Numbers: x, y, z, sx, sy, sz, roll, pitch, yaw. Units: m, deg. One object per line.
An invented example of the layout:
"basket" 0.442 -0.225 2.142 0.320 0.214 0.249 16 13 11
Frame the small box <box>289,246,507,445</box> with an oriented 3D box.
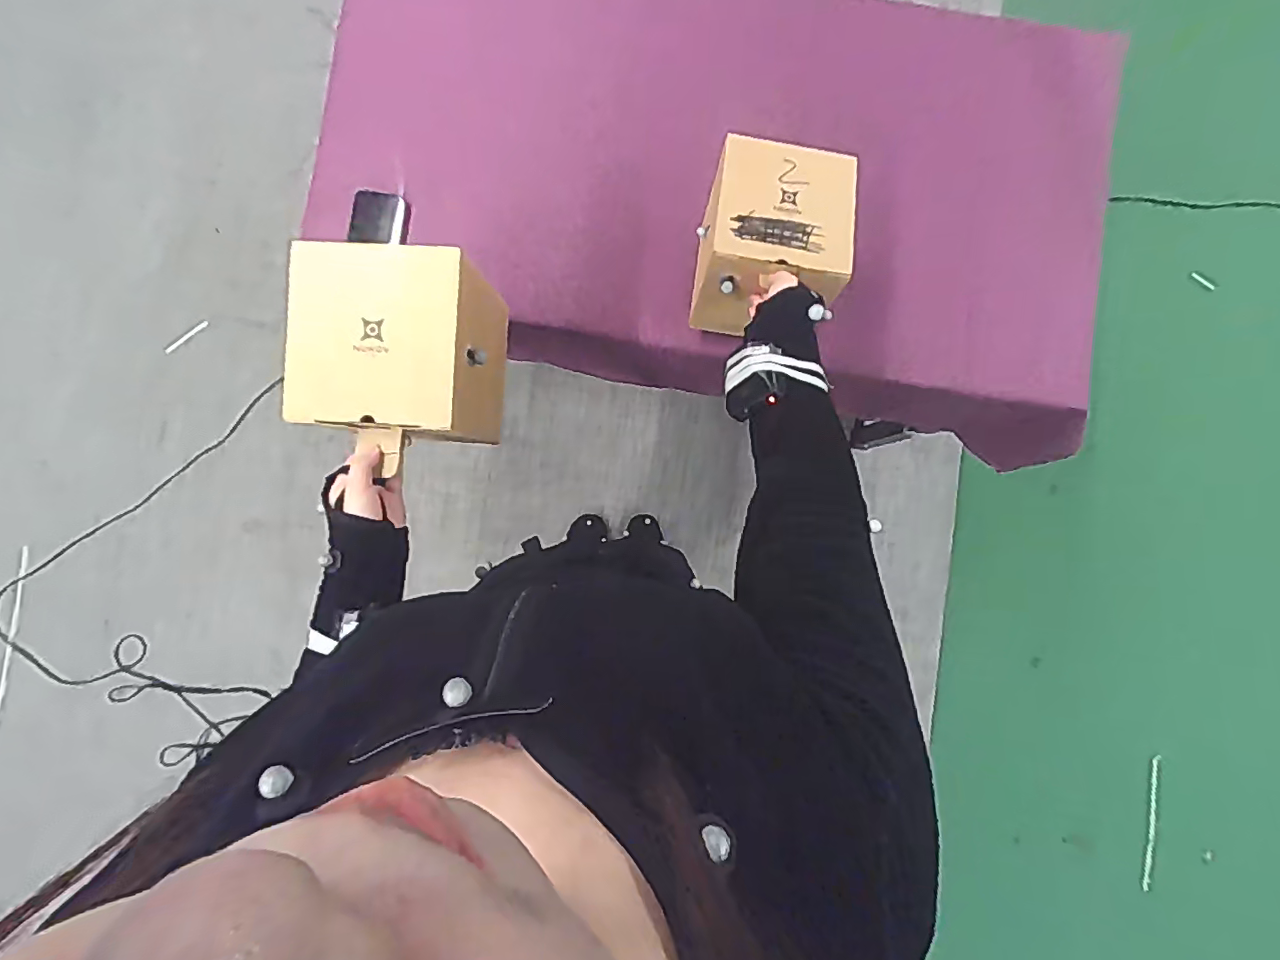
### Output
"small box" -0.252 -0.136 0.604 0.168 0.176 0.179 3 90 1
